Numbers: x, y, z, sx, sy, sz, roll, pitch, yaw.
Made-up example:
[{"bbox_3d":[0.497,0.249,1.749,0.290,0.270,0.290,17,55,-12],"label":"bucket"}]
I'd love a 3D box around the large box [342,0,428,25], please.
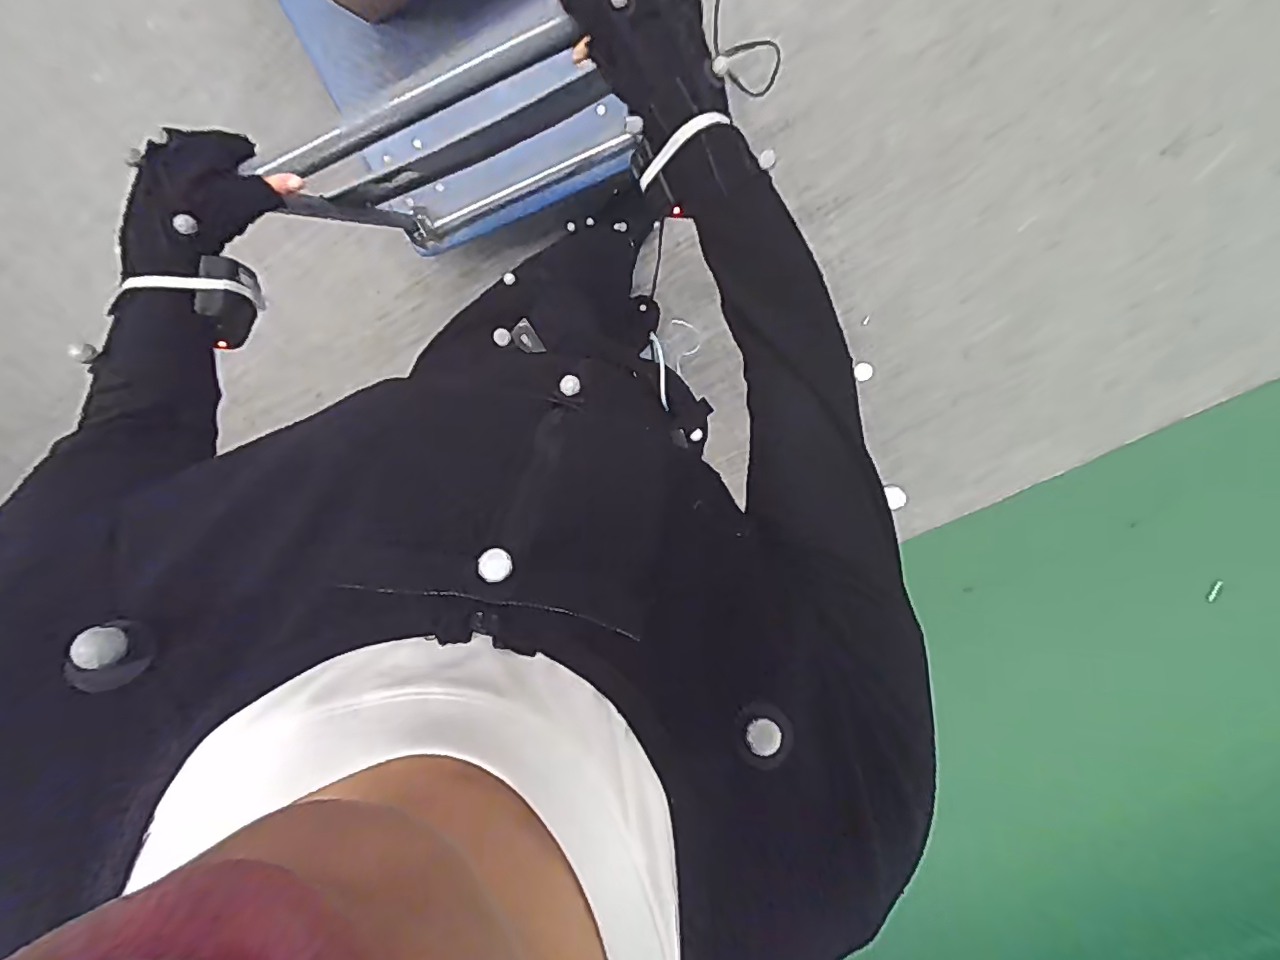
[{"bbox_3d":[-0.344,-0.939,0.741,0.408,0.320,0.320,-22,115,12],"label":"large box"}]
